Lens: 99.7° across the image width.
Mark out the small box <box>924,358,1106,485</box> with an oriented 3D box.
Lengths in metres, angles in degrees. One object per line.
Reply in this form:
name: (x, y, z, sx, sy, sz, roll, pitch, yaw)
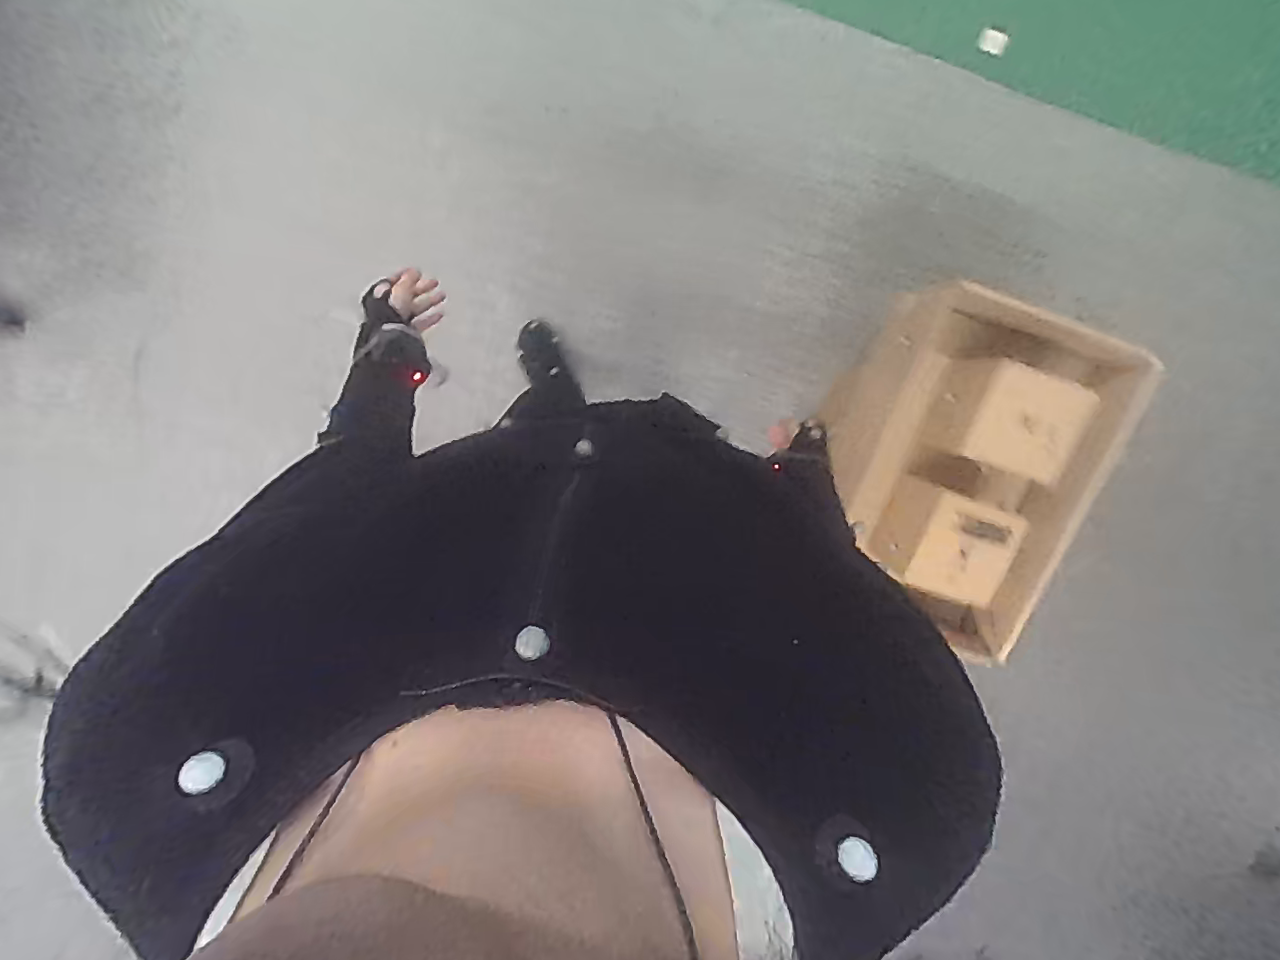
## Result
small box: (0.653, -0.109, 0.969, 0.179, 0.176, 0.168, 20, 103, -3)
